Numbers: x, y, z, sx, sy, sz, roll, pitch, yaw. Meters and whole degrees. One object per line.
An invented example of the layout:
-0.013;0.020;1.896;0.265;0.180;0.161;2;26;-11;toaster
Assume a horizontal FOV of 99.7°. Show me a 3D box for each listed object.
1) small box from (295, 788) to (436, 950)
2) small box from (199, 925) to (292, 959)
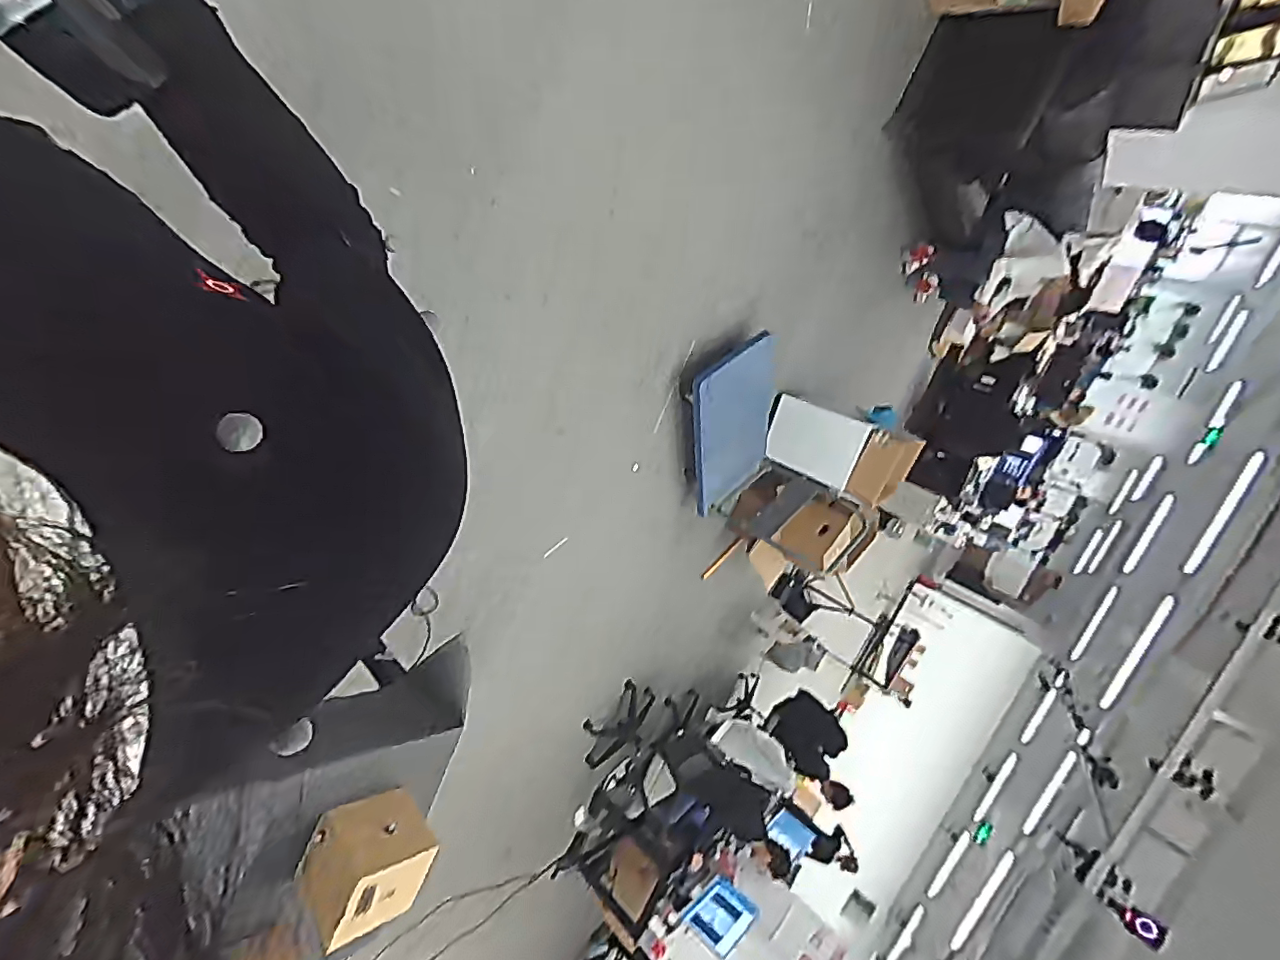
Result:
-0.556;0.766;1.090;0.179;0.176;0.168;18;100;-56;small box
-0.756;0.986;0.988;0.179;0.176;0.168;13;102;-55;small box
